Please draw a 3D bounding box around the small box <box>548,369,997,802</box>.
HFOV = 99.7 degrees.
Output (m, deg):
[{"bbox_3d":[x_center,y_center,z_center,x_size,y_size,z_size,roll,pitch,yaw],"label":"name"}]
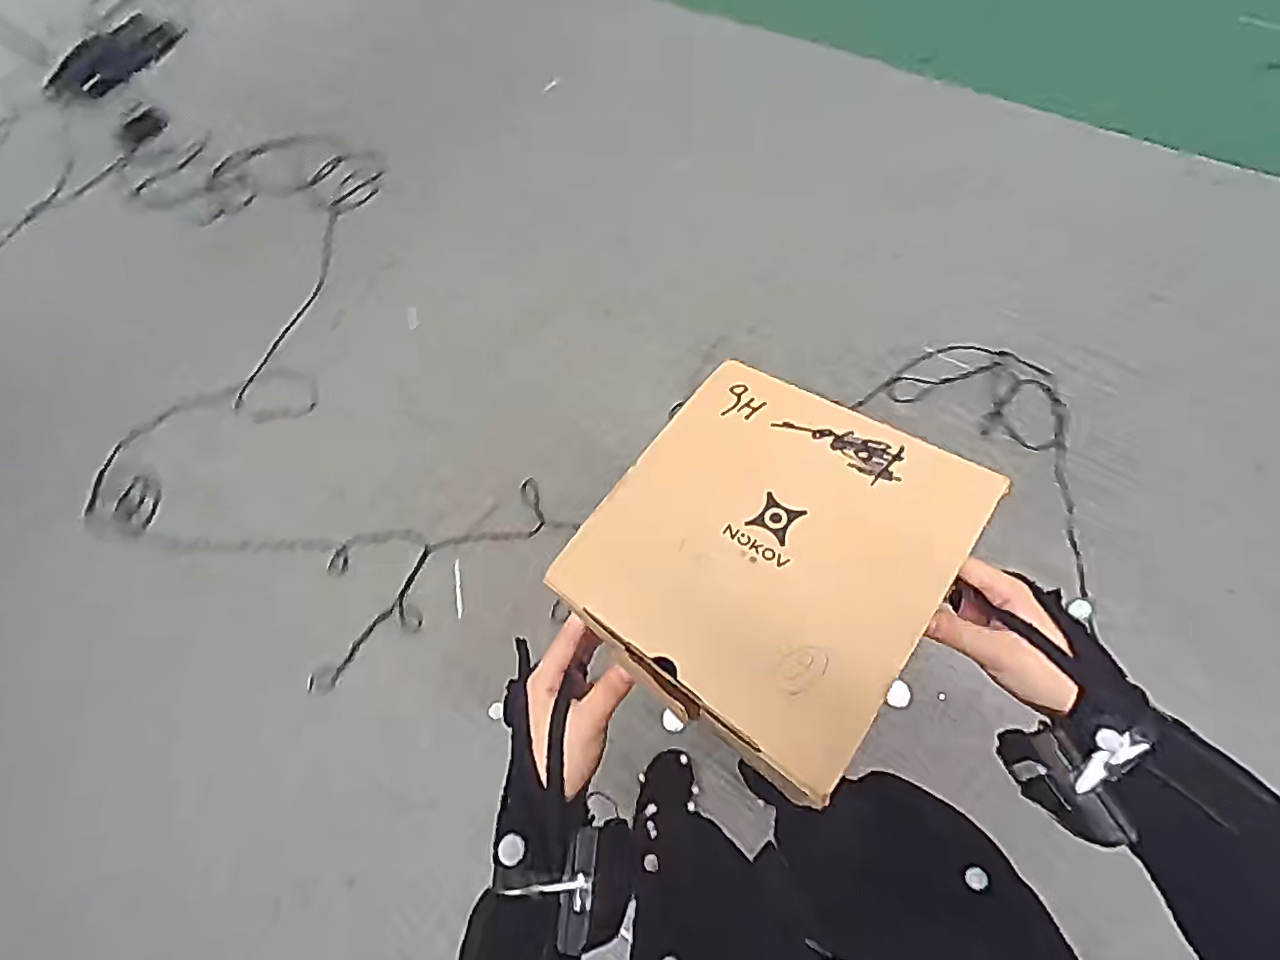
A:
[{"bbox_3d":[0.079,0.070,0.345,0.168,0.176,0.179,33,73,28],"label":"small box"}]
